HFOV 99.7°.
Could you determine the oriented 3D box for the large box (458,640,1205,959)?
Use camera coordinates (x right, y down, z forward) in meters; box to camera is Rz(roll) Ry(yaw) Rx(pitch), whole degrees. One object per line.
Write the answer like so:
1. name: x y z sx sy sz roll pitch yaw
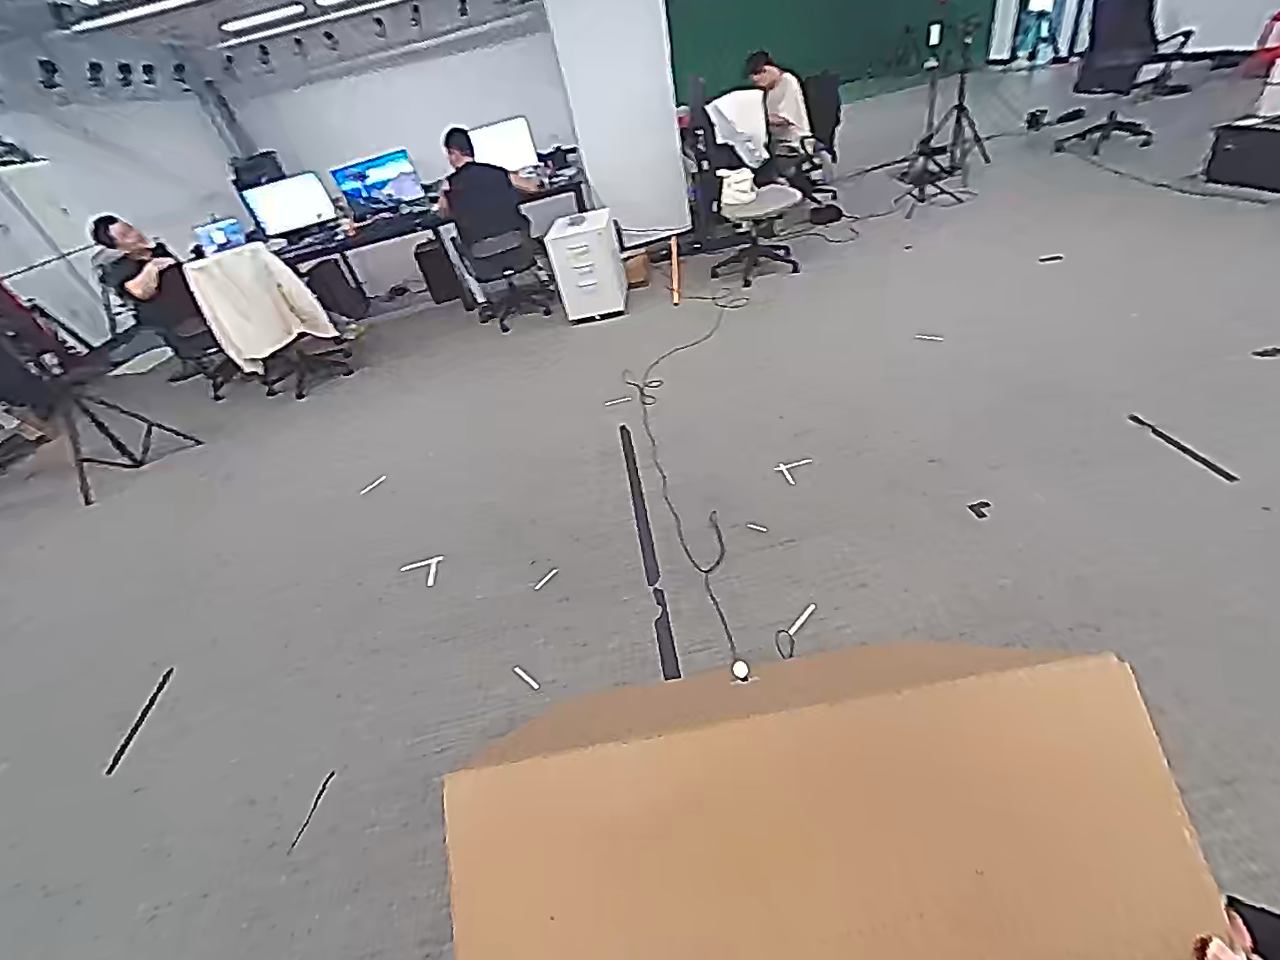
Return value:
1. large box: 0.122 0.332 0.438 0.408 0.320 0.320 -12 74 2
